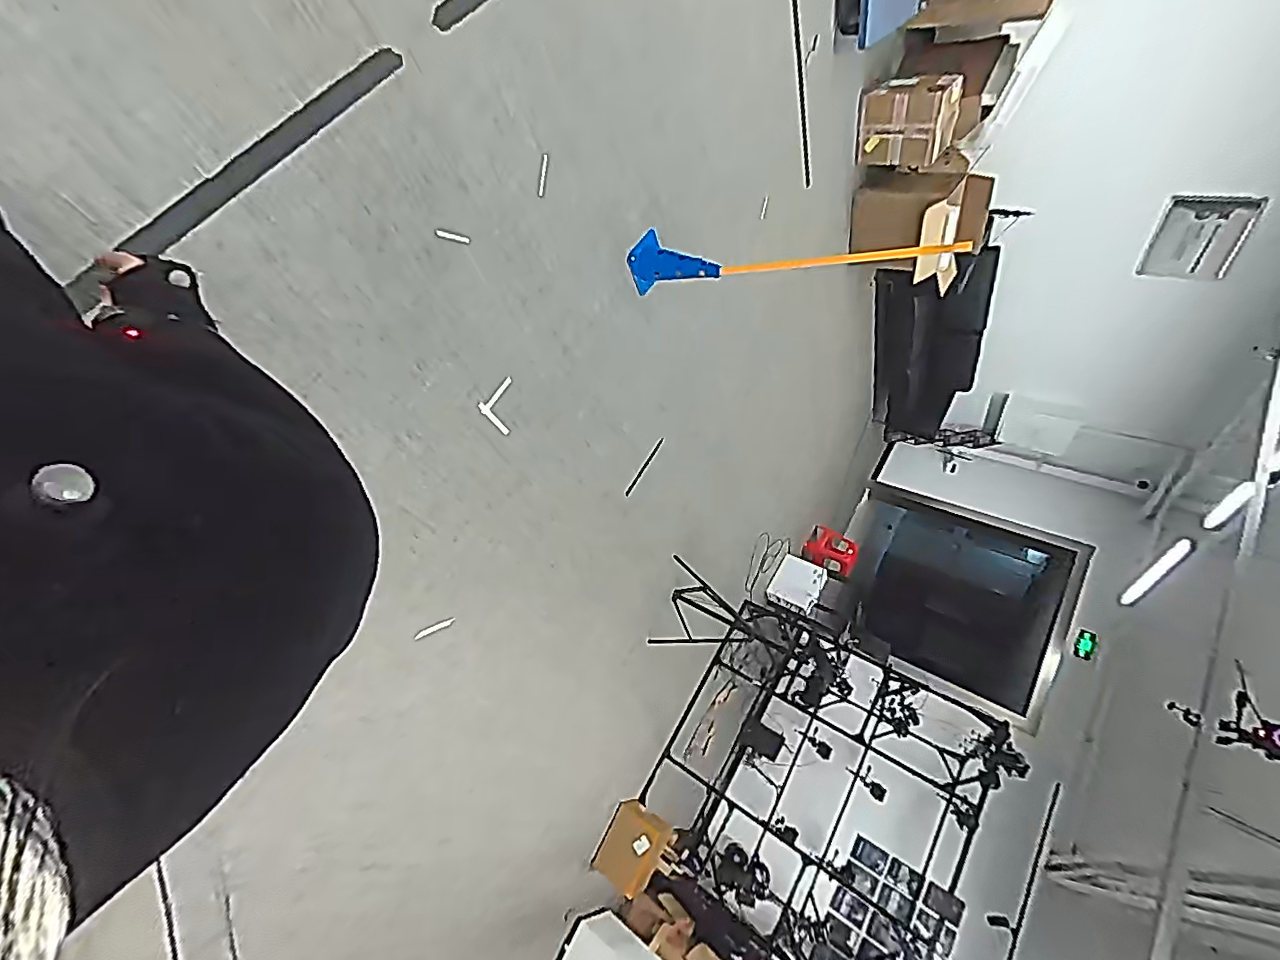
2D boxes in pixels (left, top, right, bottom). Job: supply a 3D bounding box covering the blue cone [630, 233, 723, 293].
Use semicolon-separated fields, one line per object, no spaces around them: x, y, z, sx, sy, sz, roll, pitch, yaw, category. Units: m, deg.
0.164;-0.848;2.151;0.192;0.380;0.193;-54;145;-21;blue cone
